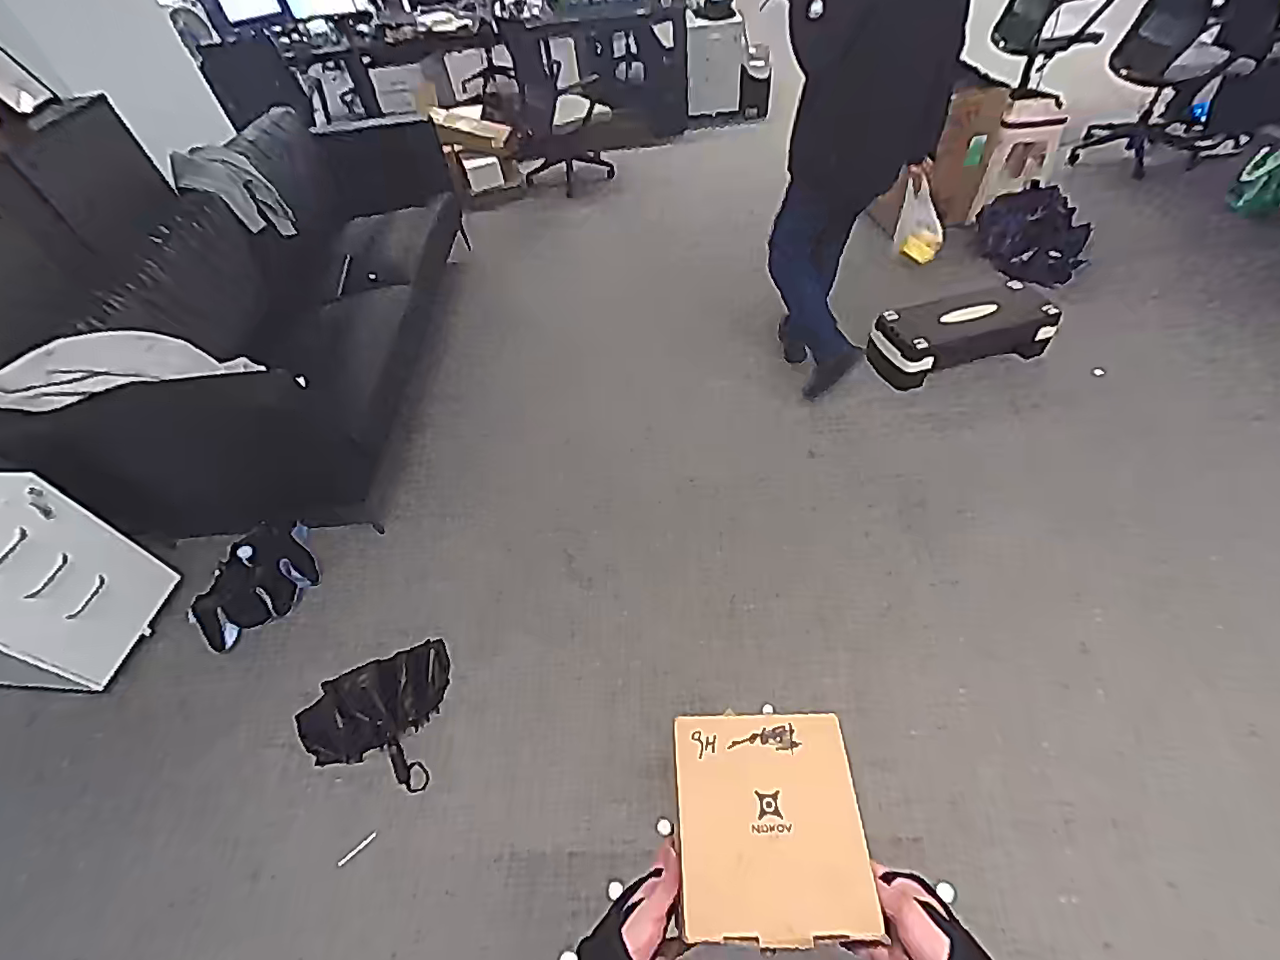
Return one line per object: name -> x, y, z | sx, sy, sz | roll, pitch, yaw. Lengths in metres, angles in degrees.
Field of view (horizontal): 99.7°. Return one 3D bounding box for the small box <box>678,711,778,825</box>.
small box -> 0.212, 0.707, 1.318 | 0.168, 0.176, 0.179 | -33, 53, -21
